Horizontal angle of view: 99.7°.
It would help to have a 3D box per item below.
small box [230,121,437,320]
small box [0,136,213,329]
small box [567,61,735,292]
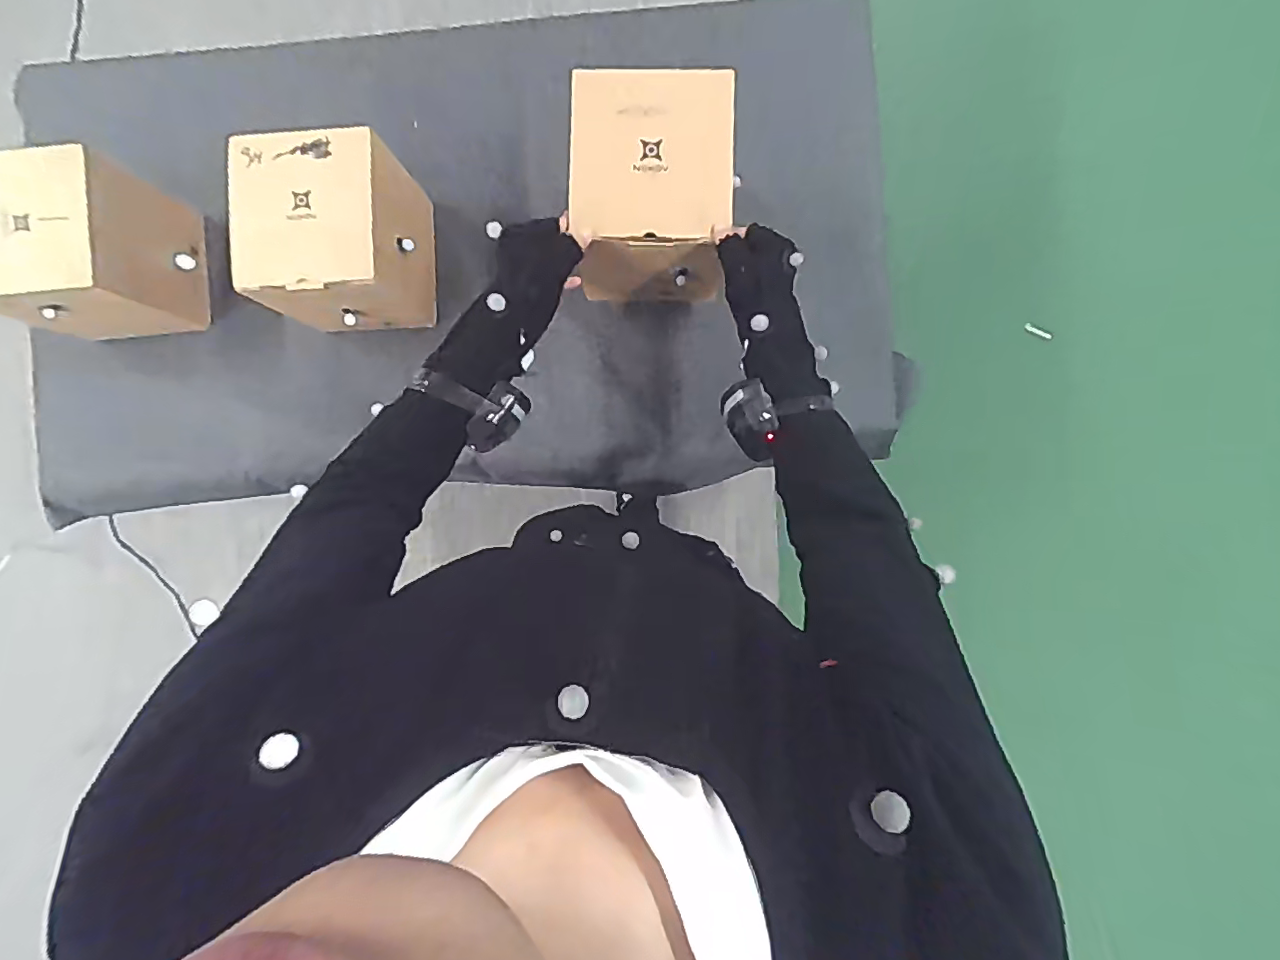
[{"bbox_3d":[-0.368,-0.307,0.678,0.168,0.176,0.179,-2,90,2],"label":"small box"},{"bbox_3d":[-0.699,-0.300,0.691,0.179,0.176,0.168,-5,90,1],"label":"small box"},{"bbox_3d":[0.012,-0.326,0.614,0.168,0.176,0.179,1,88,0],"label":"small box"}]
